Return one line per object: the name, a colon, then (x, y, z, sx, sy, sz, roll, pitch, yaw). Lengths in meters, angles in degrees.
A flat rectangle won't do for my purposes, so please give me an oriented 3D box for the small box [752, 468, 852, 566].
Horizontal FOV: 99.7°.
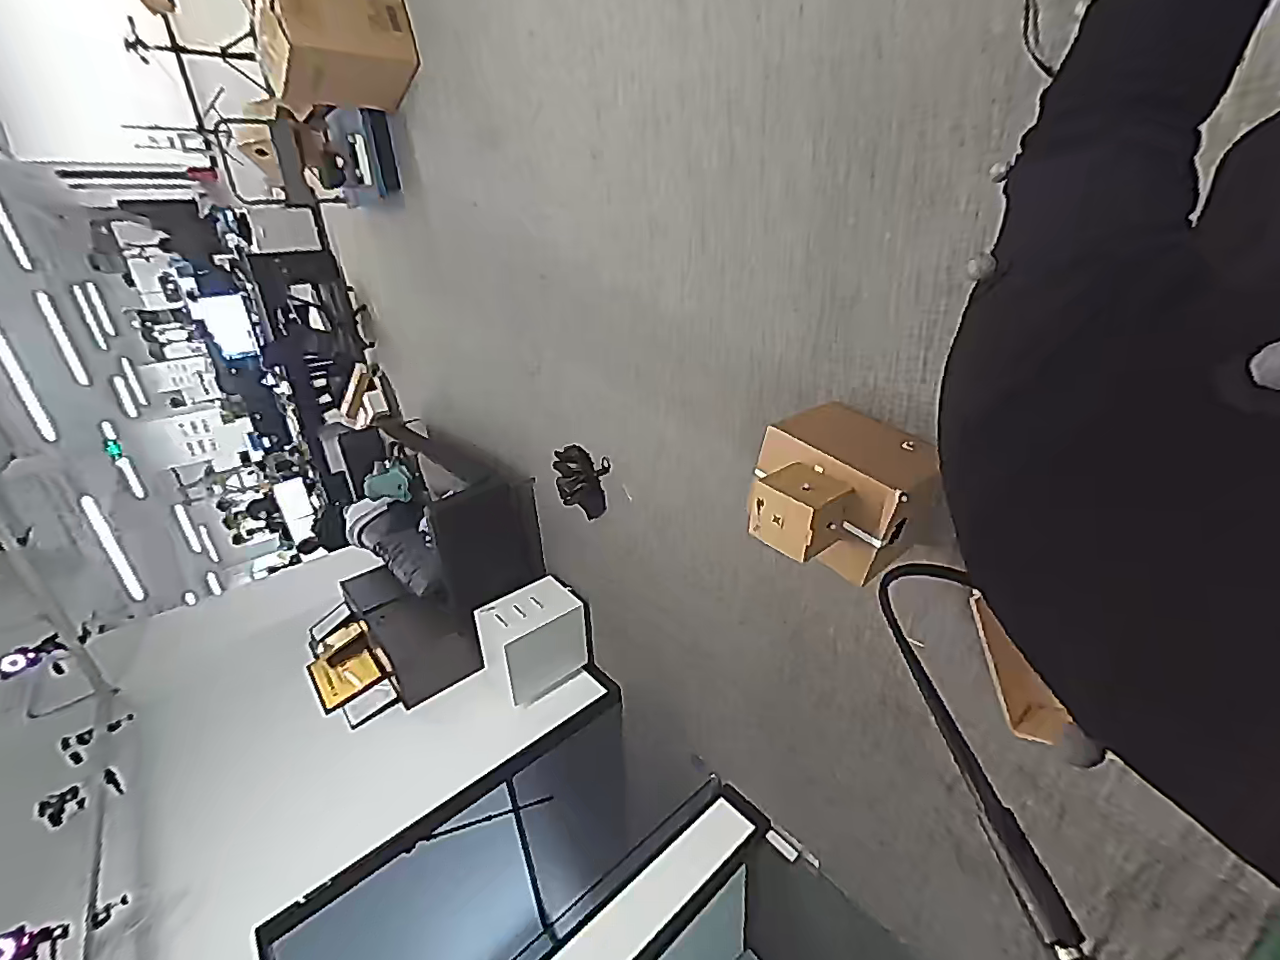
small box: (0.418, 0.086, 1.395, 0.179, 0.176, 0.168, 31, 130, 41)
